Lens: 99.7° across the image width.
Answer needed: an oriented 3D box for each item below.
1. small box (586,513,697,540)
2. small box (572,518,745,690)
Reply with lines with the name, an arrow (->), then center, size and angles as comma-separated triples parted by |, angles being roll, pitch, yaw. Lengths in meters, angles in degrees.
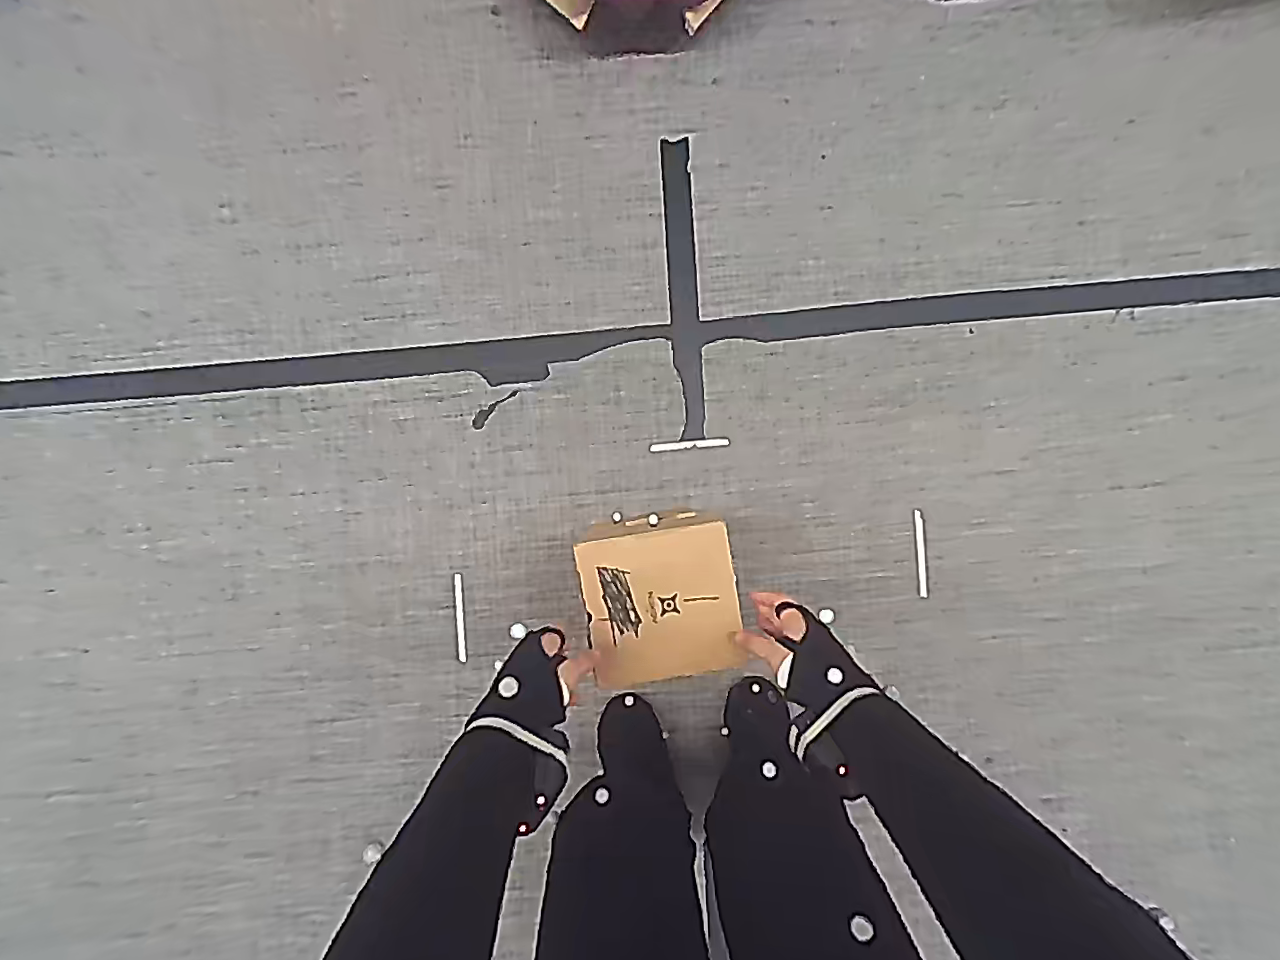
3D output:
small box -> 0.016, 0.149, 0.846 | 0.168, 0.176, 0.179 | -11, 90, 0
small box -> 0.022, 0.144, 0.681 | 0.179, 0.176, 0.168 | -9, 89, 0
